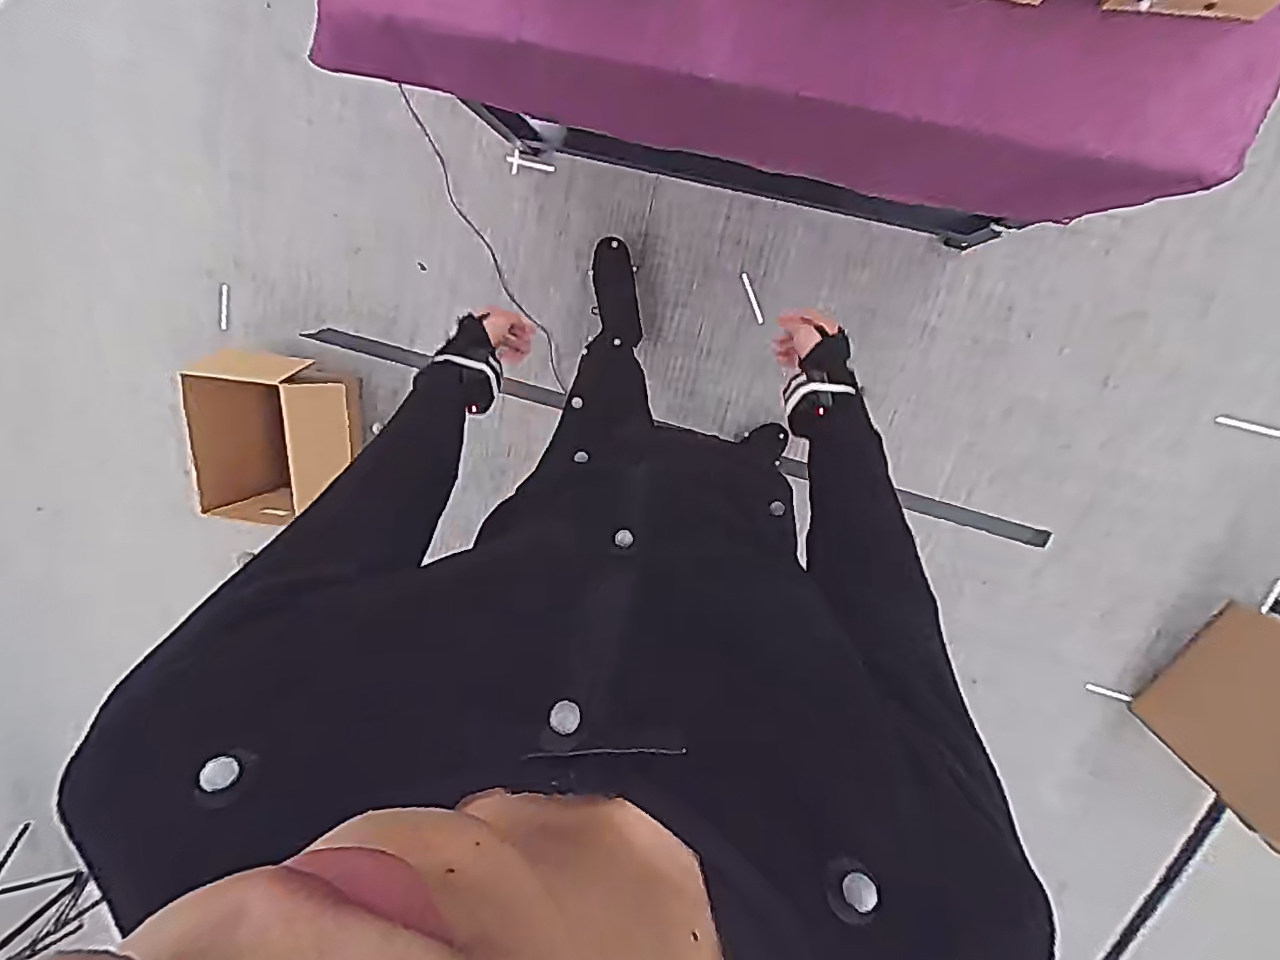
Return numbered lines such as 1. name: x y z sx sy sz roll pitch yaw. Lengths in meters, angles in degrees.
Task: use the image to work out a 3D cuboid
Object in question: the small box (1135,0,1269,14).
1. small box: 0.613 -0.599 0.521 0.168 0.176 0.179 11 105 6
